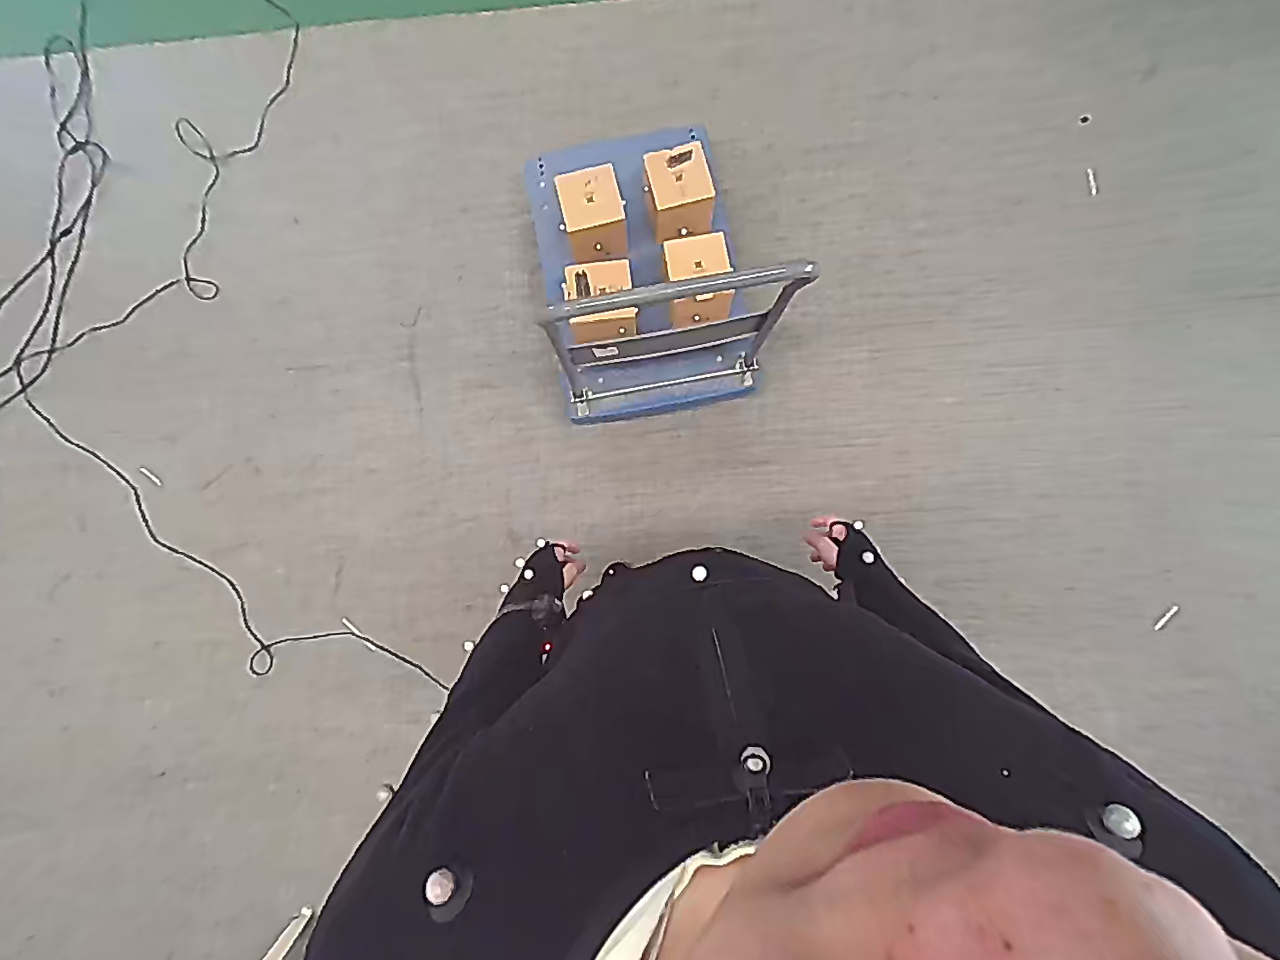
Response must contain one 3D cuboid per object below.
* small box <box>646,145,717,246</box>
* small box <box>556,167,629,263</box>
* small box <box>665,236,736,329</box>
[{"bbox_3d":[0.115,-0.809,1.551,0.168,0.176,0.179,-14,82,1],"label":"small box"},{"bbox_3d":[-0.130,-0.747,1.550,0.168,0.176,0.179,-13,81,-1],"label":"small box"},{"bbox_3d":[0.163,-0.546,1.512,0.168,0.176,0.179,-9,82,0],"label":"small box"}]
